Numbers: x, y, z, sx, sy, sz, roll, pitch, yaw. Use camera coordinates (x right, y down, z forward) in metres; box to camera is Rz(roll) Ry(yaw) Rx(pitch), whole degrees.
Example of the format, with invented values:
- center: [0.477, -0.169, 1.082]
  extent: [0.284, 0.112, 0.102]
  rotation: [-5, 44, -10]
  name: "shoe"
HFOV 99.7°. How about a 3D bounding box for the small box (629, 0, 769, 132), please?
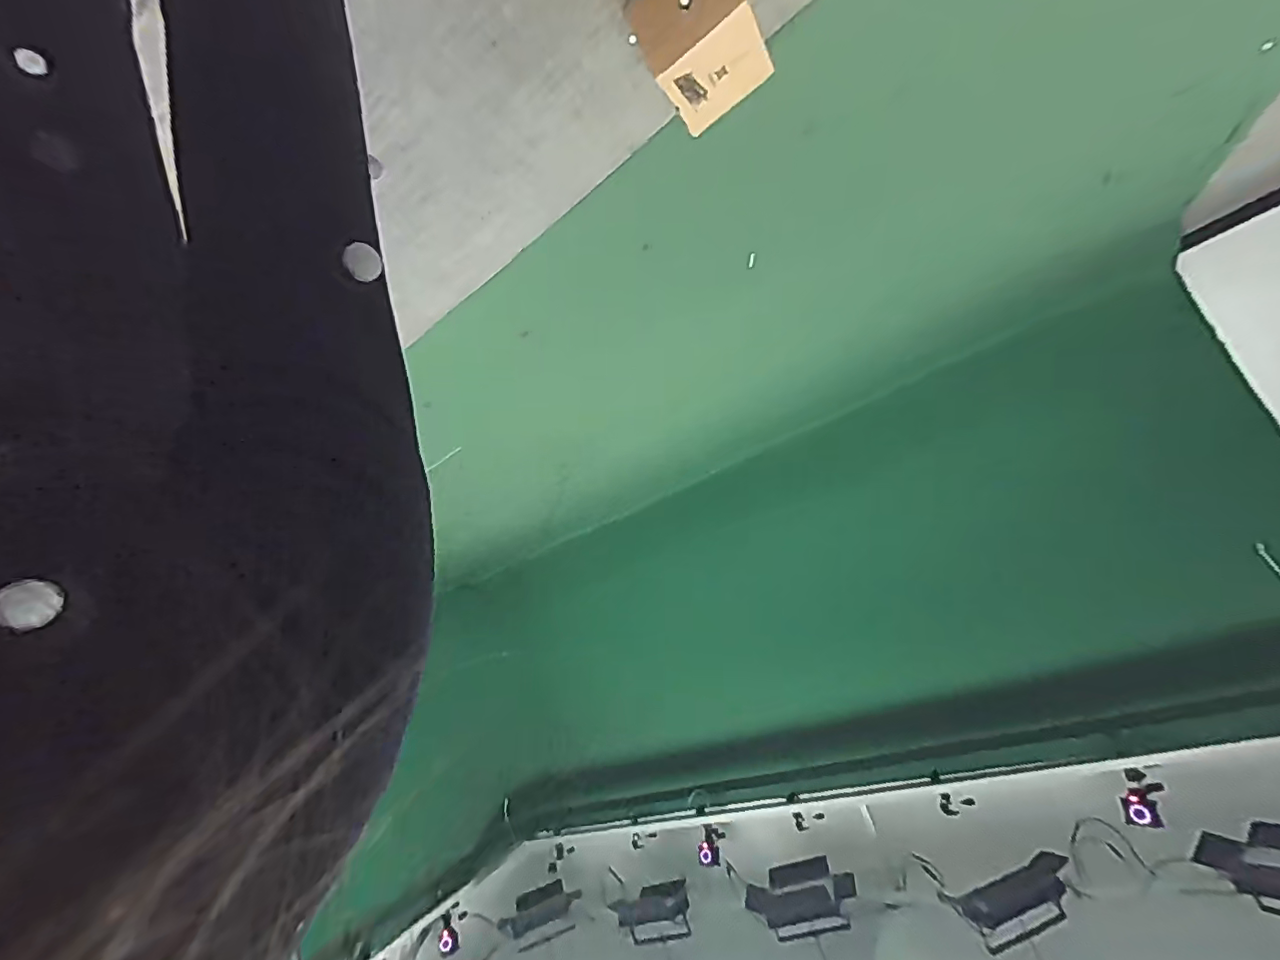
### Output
- center: [0.098, -0.782, 0.955]
  extent: [0.179, 0.176, 0.168]
  rotation: [-27, 165, 25]
  name: "small box"
